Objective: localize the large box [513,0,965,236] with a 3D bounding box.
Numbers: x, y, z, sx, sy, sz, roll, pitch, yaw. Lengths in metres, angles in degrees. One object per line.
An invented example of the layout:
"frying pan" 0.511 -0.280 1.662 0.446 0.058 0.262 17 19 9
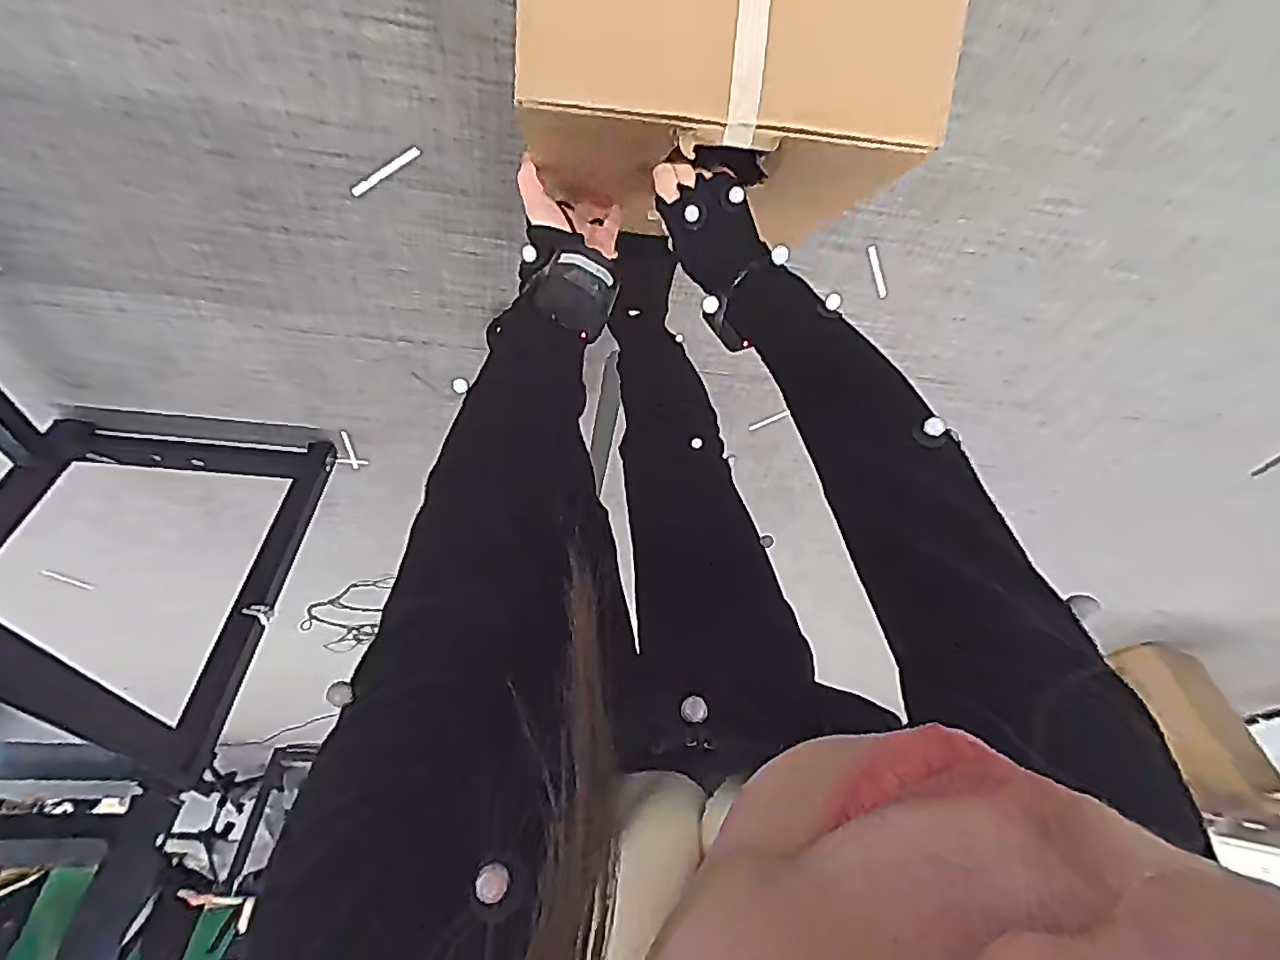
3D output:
"large box" 0.069 -0.475 0.486 0.320 0.320 0.408 3 101 -6
